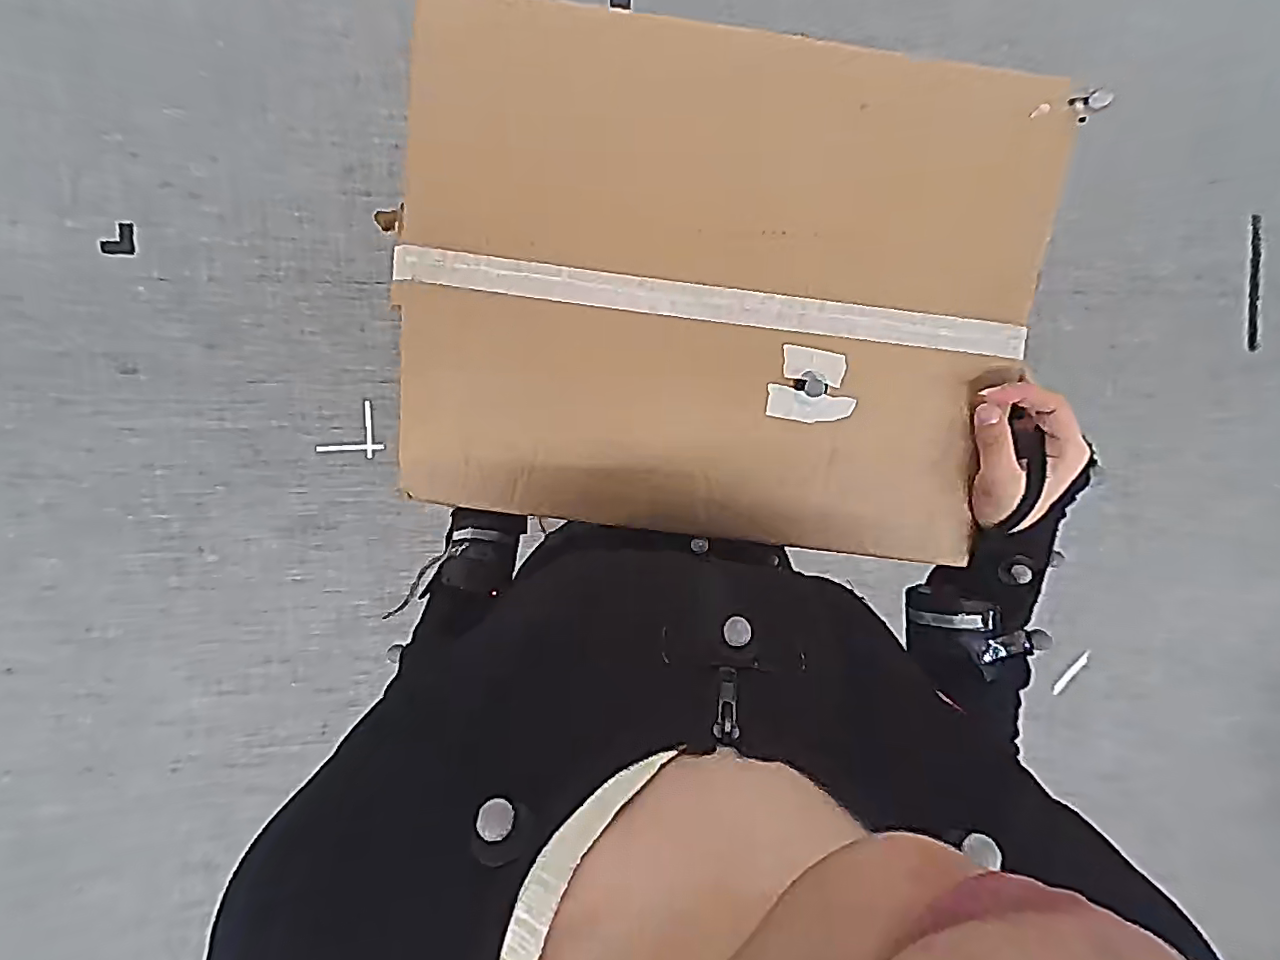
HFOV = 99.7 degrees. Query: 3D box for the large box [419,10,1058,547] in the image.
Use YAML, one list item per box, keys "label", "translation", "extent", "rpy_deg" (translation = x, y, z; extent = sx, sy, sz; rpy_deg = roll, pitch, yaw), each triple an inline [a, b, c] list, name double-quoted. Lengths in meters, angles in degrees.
- label: "large box"
  translation: [0.050, -0.144, 0.507]
  extent: [0.408, 0.320, 0.320]
  rpy_deg: [6, 101, -3]
